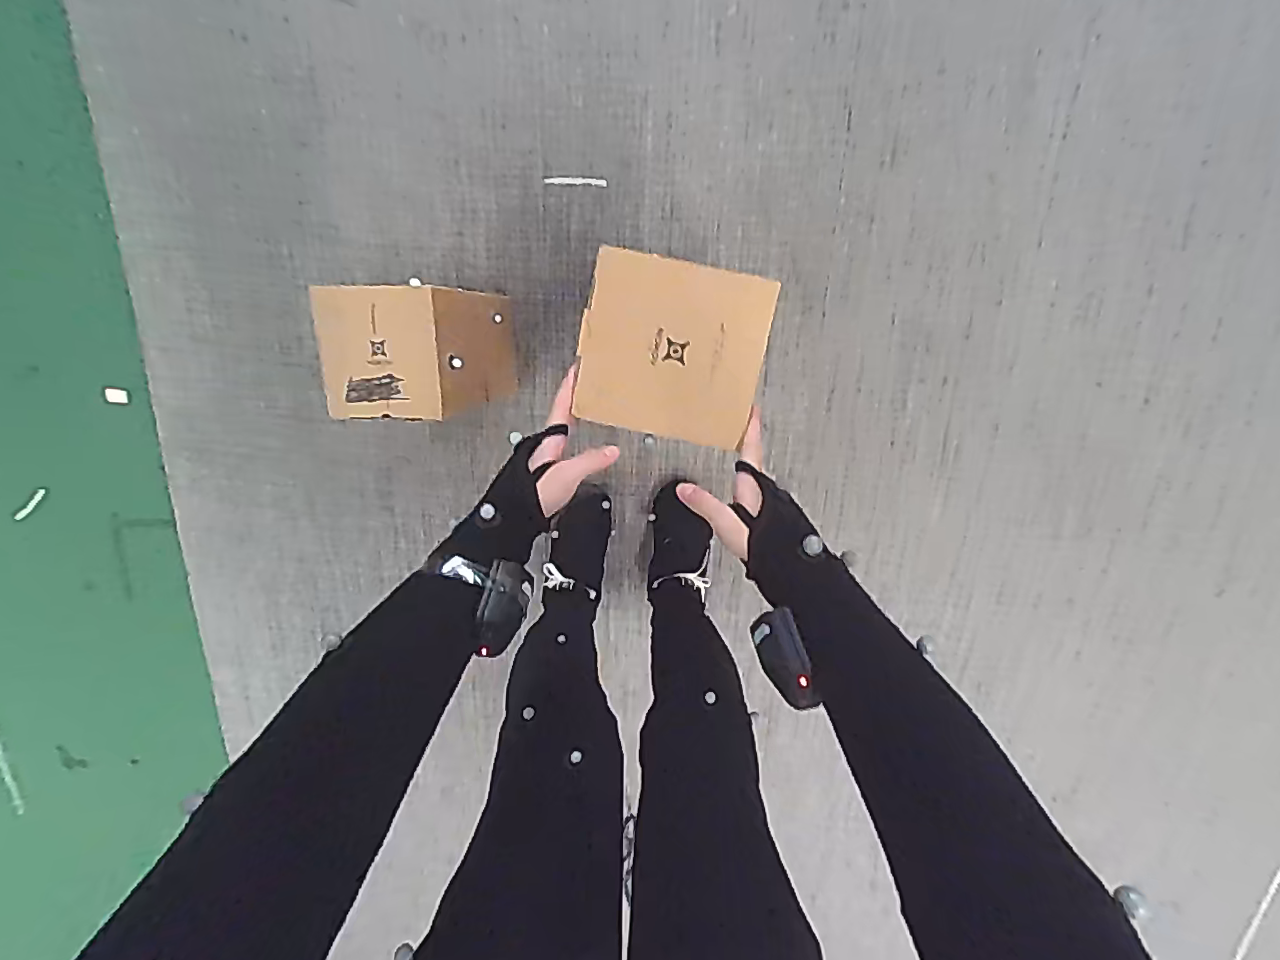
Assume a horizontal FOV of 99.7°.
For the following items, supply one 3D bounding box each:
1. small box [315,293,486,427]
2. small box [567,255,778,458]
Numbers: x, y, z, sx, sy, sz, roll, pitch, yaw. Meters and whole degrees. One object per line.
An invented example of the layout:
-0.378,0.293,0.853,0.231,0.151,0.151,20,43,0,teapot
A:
-0.337,-0.180,0.800,0.168,0.176,0.179,1,105,4,small box
0.032,-0.125,0.596,0.179,0.176,0.168,12,97,1,small box
